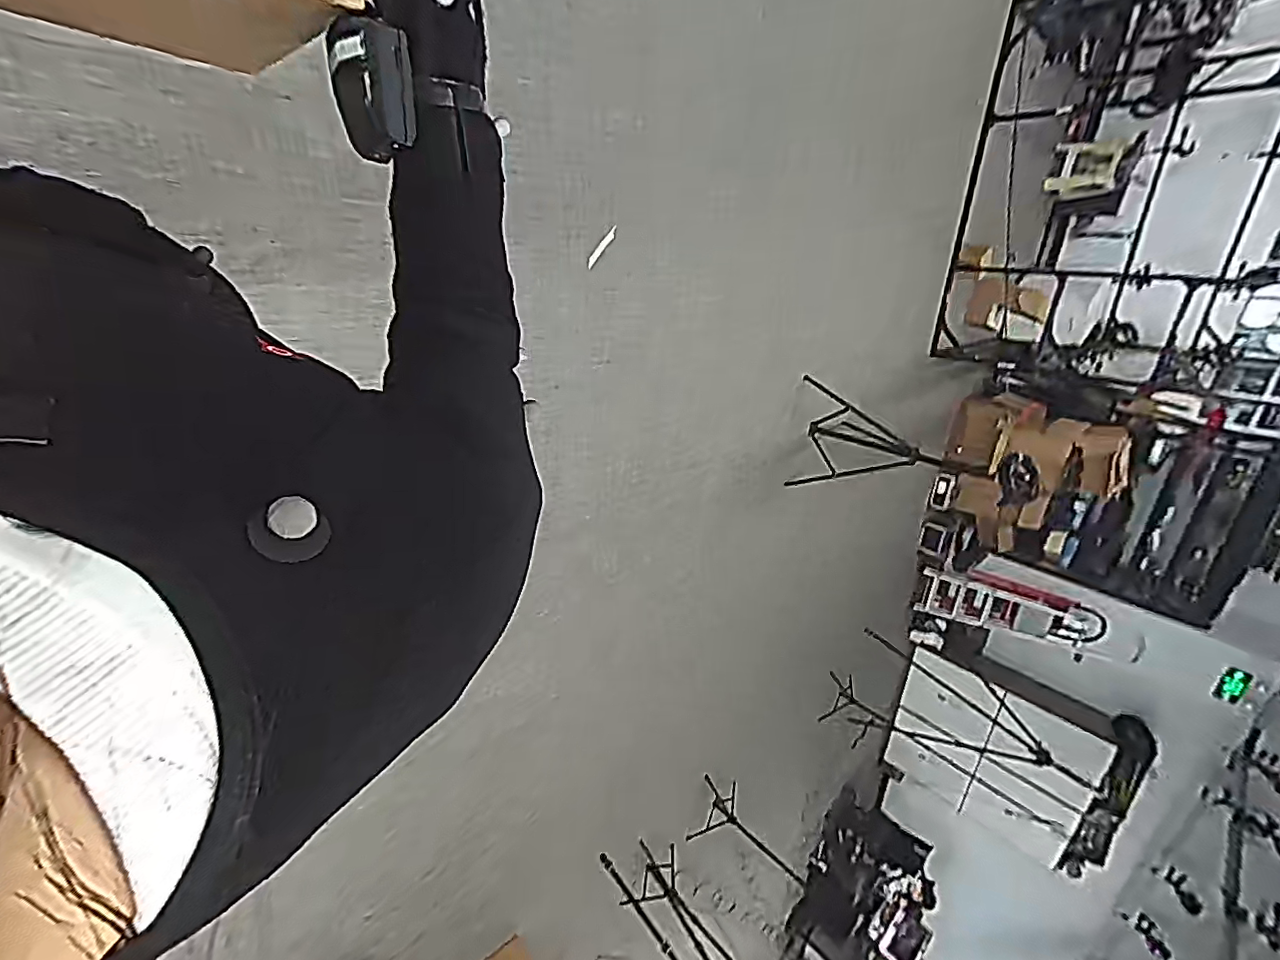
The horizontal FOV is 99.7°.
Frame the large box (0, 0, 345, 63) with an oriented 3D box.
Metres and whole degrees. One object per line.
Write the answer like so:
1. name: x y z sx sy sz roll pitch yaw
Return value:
1. large box: -0.393 -0.428 0.220 0.408 0.320 0.320 -15 123 -41
